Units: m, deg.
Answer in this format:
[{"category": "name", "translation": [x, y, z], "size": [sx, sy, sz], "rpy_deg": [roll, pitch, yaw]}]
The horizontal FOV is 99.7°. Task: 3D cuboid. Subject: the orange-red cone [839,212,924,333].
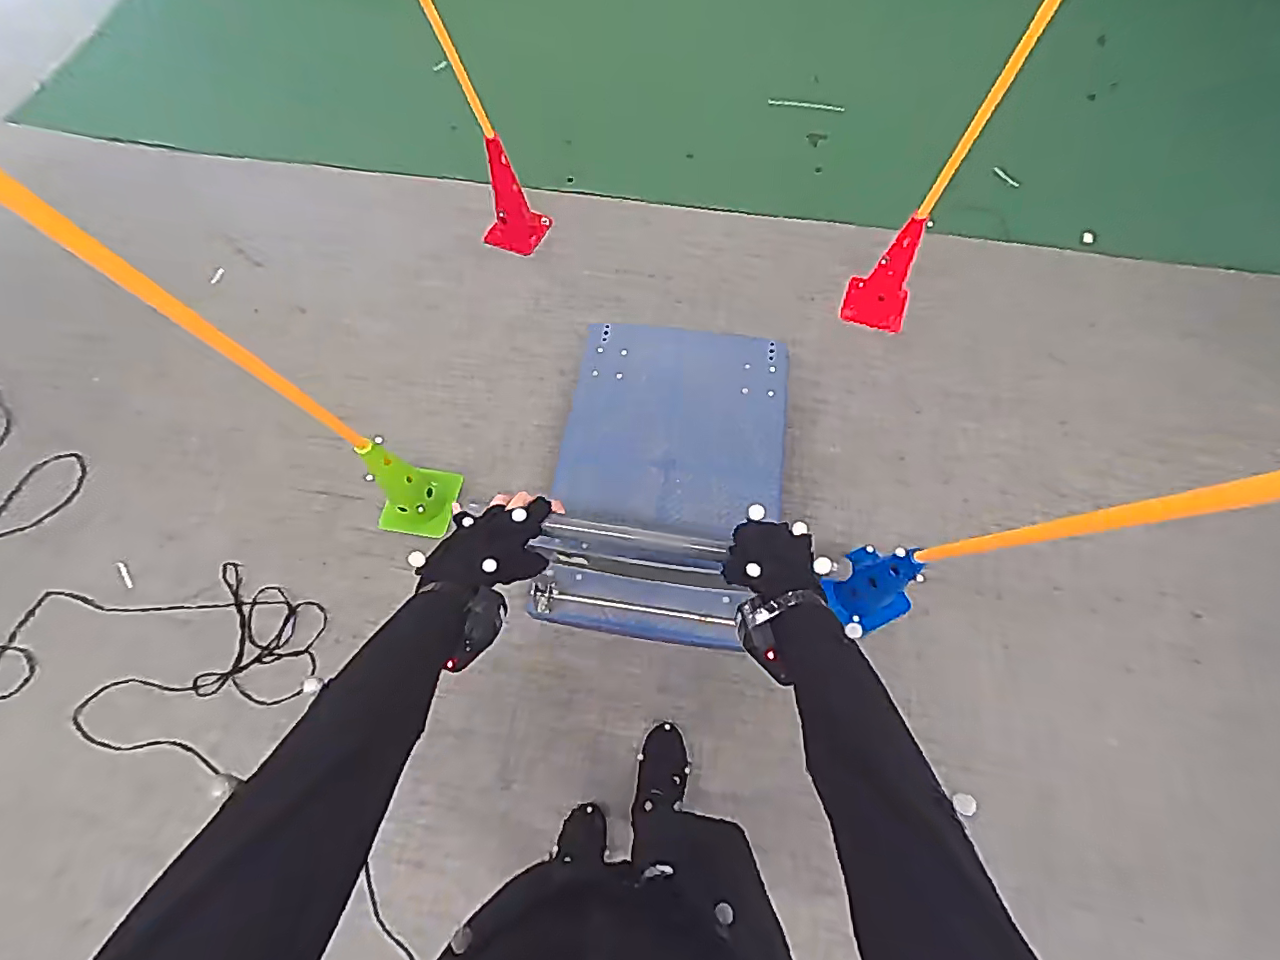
[{"category": "orange-red cone", "translation": [0.777, -0.656, 1.655], "size": [0.198, 0.360, 0.199], "rpy_deg": [20, 69, 11]}]
